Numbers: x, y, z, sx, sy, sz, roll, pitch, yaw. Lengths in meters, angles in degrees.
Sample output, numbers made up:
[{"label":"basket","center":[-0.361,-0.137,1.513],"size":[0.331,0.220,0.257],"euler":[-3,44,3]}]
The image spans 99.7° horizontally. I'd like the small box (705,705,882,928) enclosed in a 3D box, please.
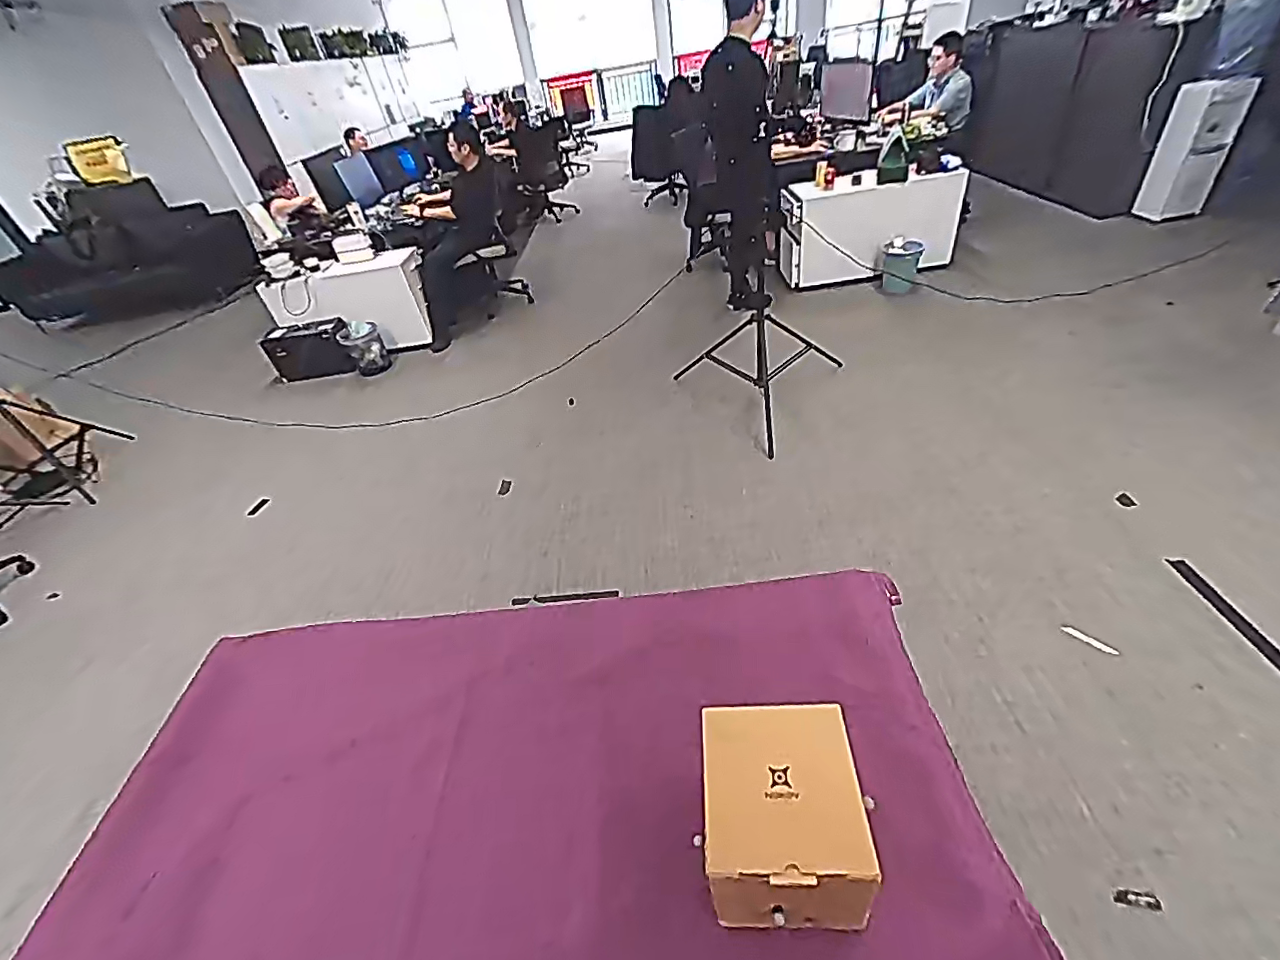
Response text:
[{"label":"small box","center":[0.164,0.389,0.634],"size":[0.168,0.176,0.179],"euler":[-5,38,8]}]
